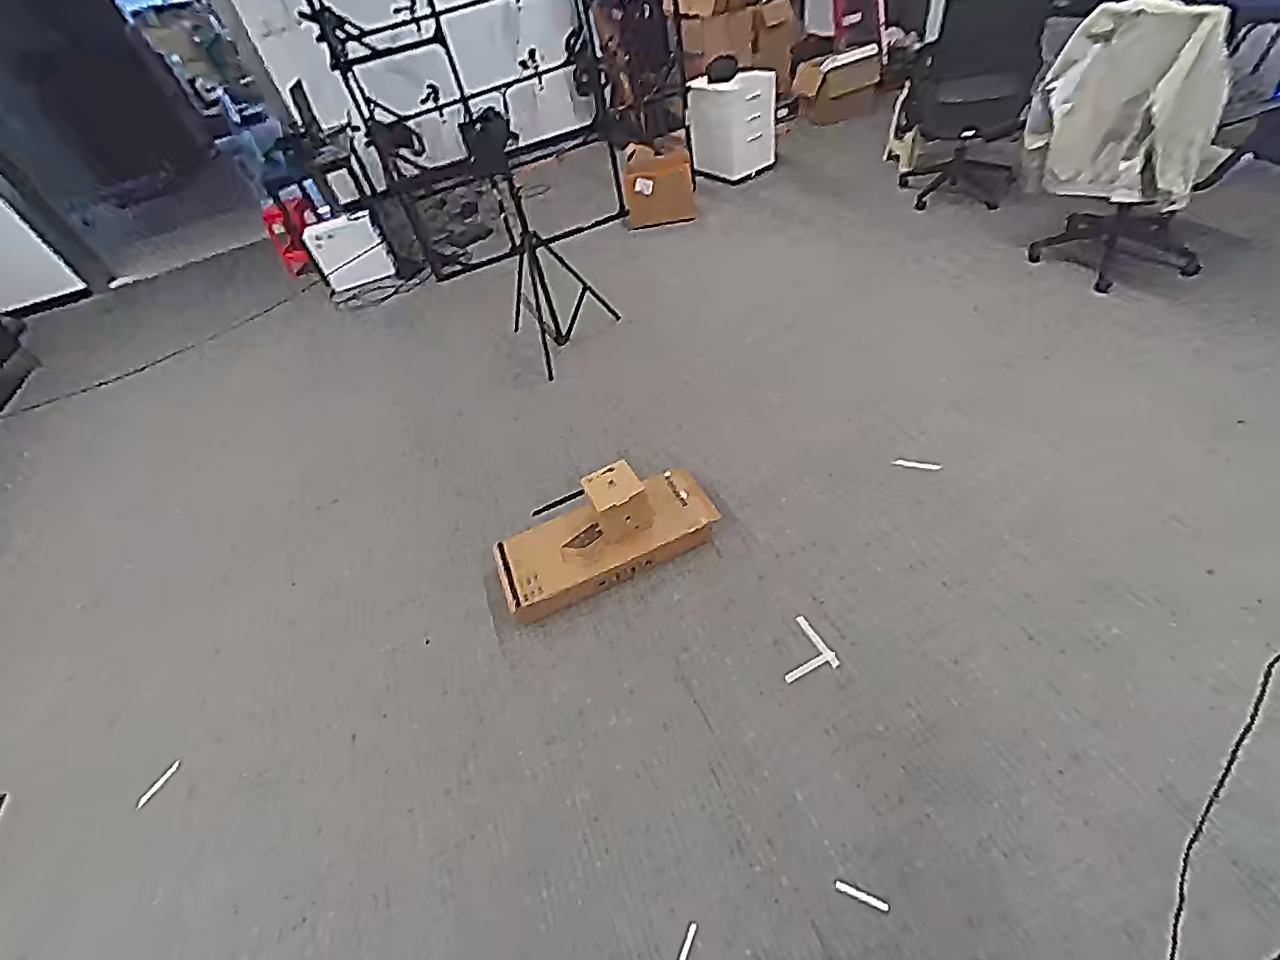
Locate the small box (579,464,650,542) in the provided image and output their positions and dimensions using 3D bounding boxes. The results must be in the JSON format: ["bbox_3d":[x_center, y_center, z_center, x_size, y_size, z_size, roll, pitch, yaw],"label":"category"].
[{"bbox_3d":[-0.080,0.084,1.799,0.168,0.176,0.179,-25,46,-11],"label":"small box"}]
